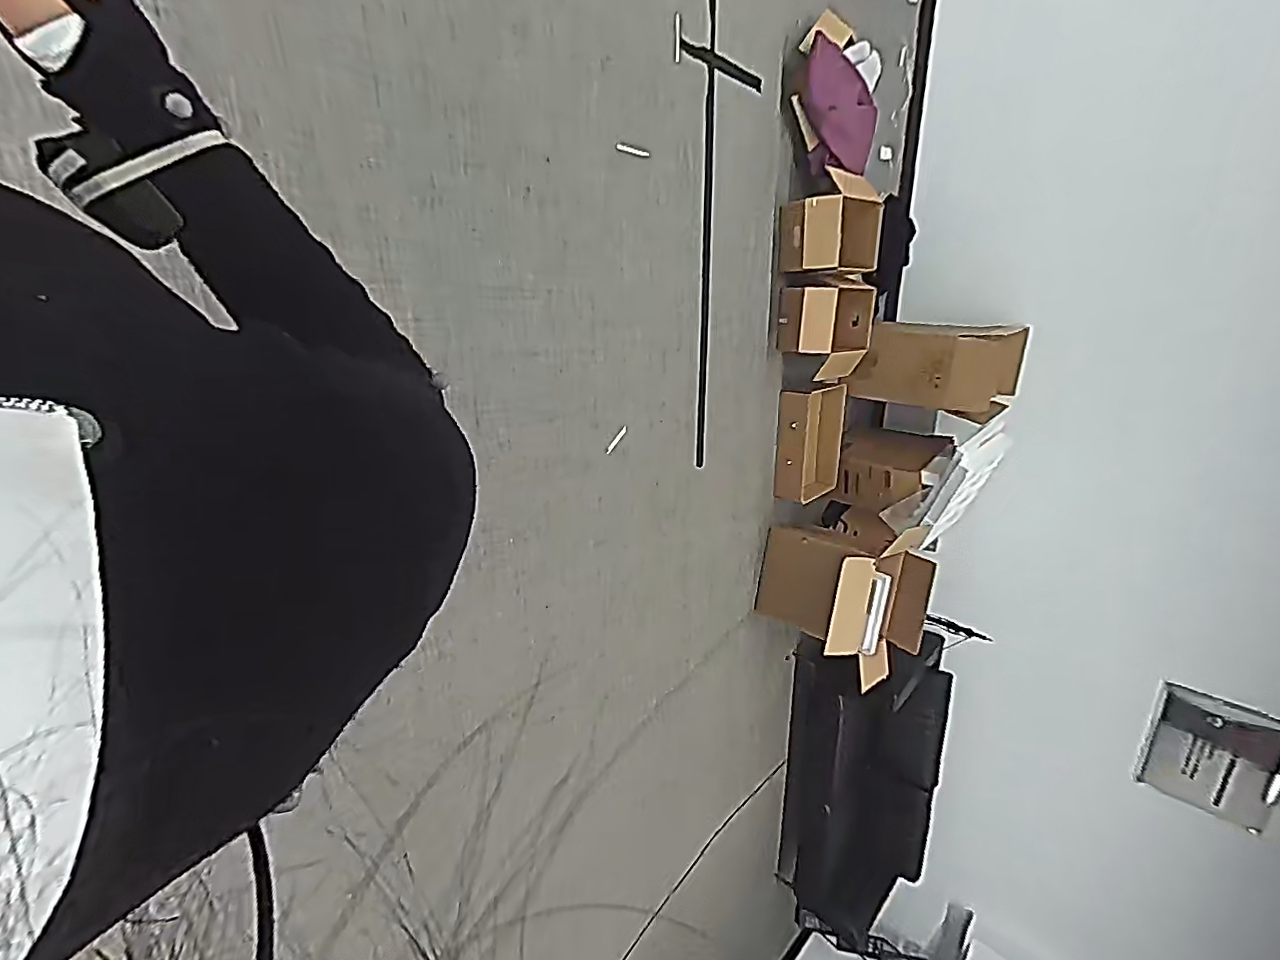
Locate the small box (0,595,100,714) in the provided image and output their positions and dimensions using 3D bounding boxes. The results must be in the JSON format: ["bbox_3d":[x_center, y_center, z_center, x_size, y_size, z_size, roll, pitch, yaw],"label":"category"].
[{"bbox_3d":[-1.082,0.331,0.945,0.168,0.176,0.179,-18,115,-42],"label":"small box"}]

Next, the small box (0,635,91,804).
[{"bbox_3d":[-0.973,0.370,0.828,0.168,0.176,0.179,-13,112,-44],"label":"small box"}]
